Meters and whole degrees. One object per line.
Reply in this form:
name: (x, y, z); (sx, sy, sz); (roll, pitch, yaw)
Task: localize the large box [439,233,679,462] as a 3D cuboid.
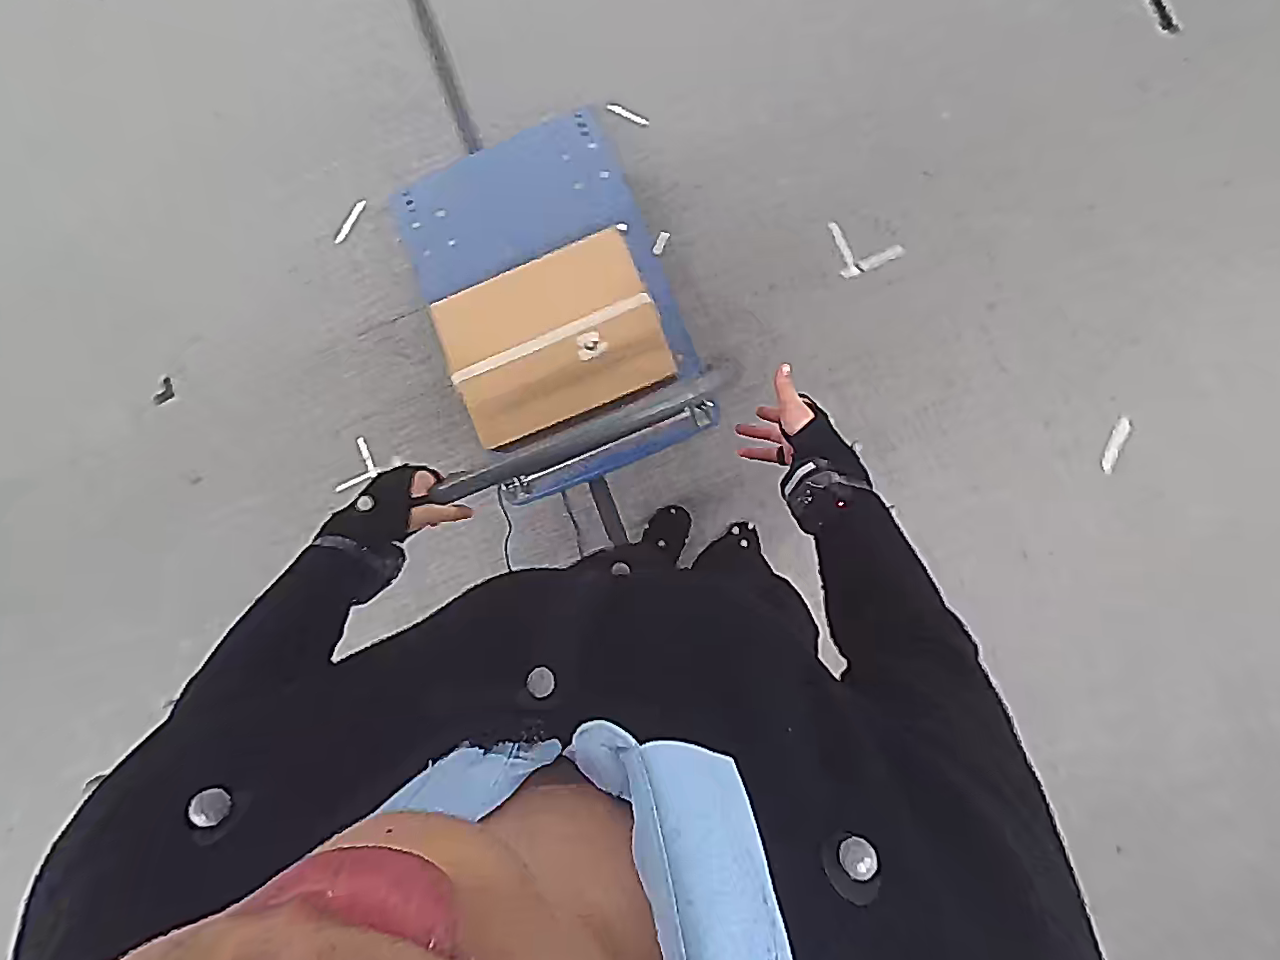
large box: (-0.155, -0.262, 1.200); (0.408, 0.320, 0.320); (-22, 88, 2)
